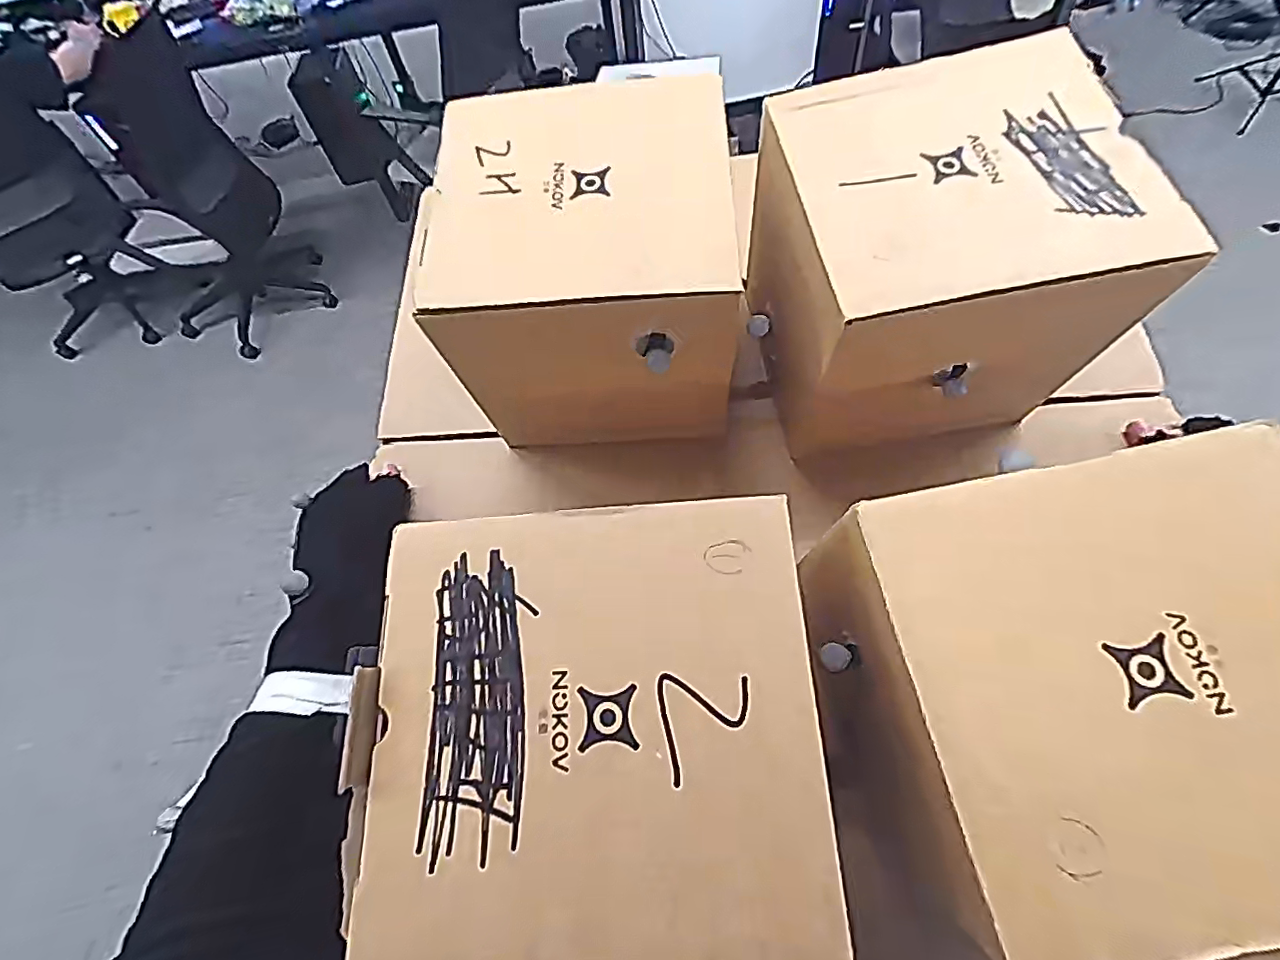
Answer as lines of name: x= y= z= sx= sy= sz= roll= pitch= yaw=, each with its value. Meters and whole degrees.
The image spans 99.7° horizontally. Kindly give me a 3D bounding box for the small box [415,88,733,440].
small box: x=-0.030 y=-0.138 z=0.392 sx=0.179 sy=0.176 sz=0.168 roll=-2 pitch=68 yaw=6
